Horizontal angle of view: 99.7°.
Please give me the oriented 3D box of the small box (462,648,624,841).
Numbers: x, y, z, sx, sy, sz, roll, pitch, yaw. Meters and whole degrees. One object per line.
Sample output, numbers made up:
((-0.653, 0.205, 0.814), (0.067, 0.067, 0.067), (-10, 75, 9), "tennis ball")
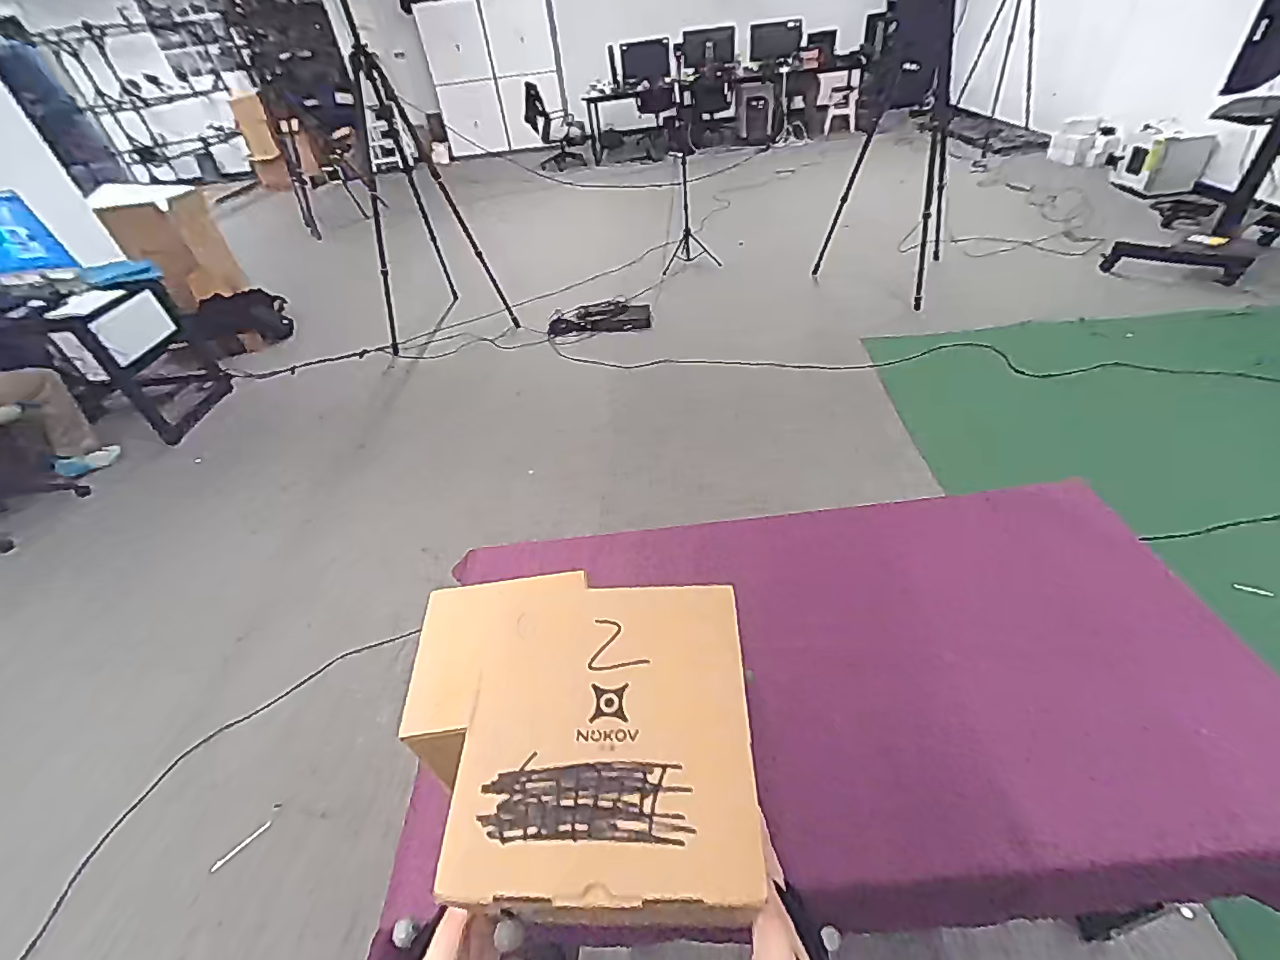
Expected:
((-0.112, 0.345, 0.702), (0.168, 0.176, 0.179), (-6, 41, 0), "small box")

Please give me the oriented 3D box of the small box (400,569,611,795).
((-0.132, 0.224, 0.596), (0.179, 0.176, 0.168), (-7, 41, -2), "small box")
